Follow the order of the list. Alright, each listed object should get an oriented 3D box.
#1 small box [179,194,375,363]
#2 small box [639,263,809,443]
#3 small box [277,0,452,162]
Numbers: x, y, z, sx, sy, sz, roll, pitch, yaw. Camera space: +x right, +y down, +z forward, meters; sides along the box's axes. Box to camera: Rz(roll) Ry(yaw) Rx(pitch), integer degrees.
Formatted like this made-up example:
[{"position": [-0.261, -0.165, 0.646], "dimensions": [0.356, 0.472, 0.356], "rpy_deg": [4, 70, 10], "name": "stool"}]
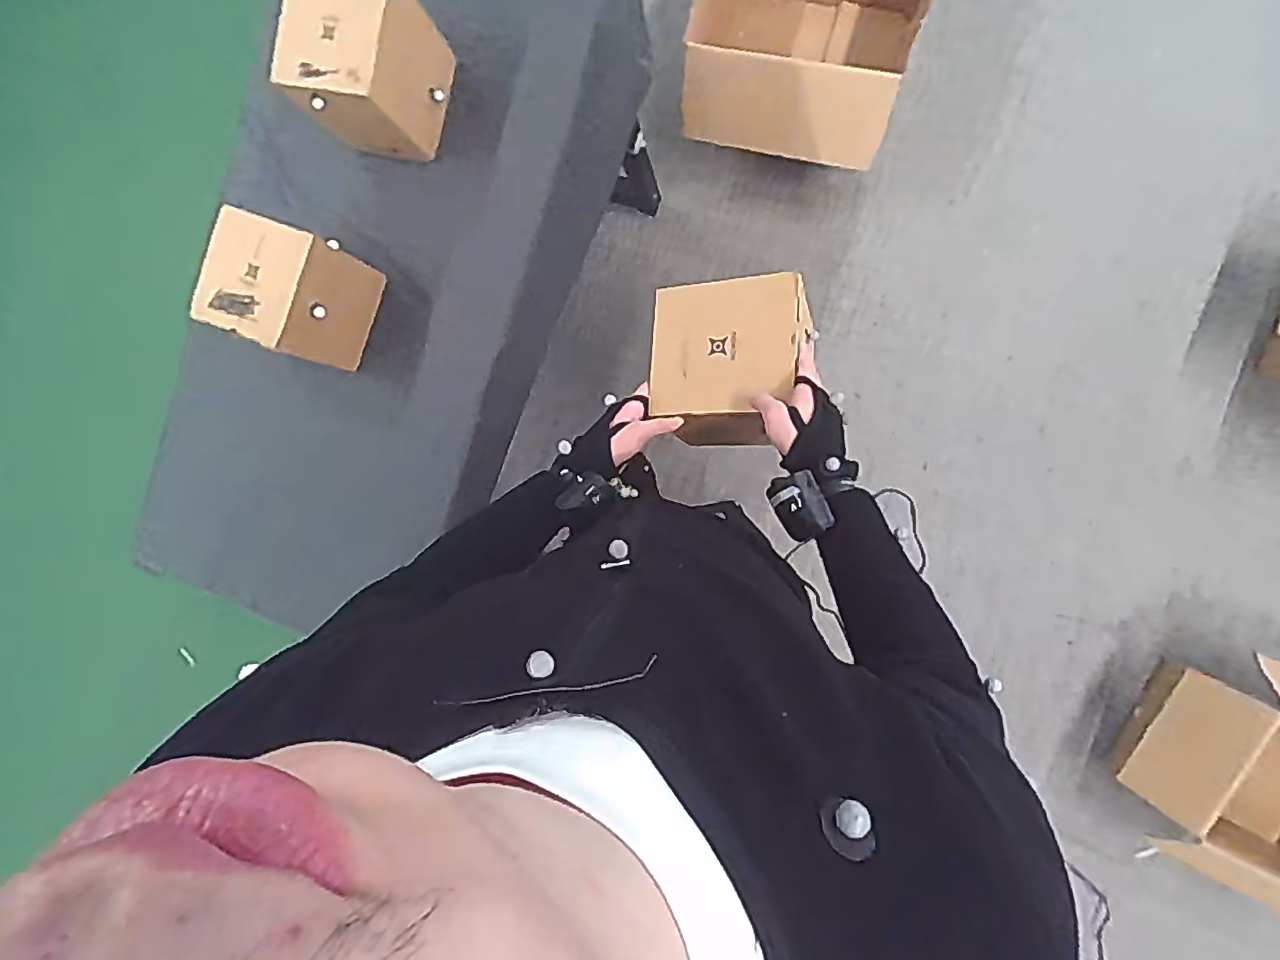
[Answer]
[{"position": [-0.557, -0.302, 0.853], "dimensions": [0.168, 0.176, 0.179], "rpy_deg": [25, 95, 7], "name": "small box"}, {"position": [0.115, -0.146, 0.681], "dimensions": [0.179, 0.176, 0.168], "rpy_deg": [1, 80, 23], "name": "small box"}, {"position": [-0.417, -0.640, 0.846], "dimensions": [0.168, 0.176, 0.179], "rpy_deg": [13, 93, 8], "name": "small box"}]
